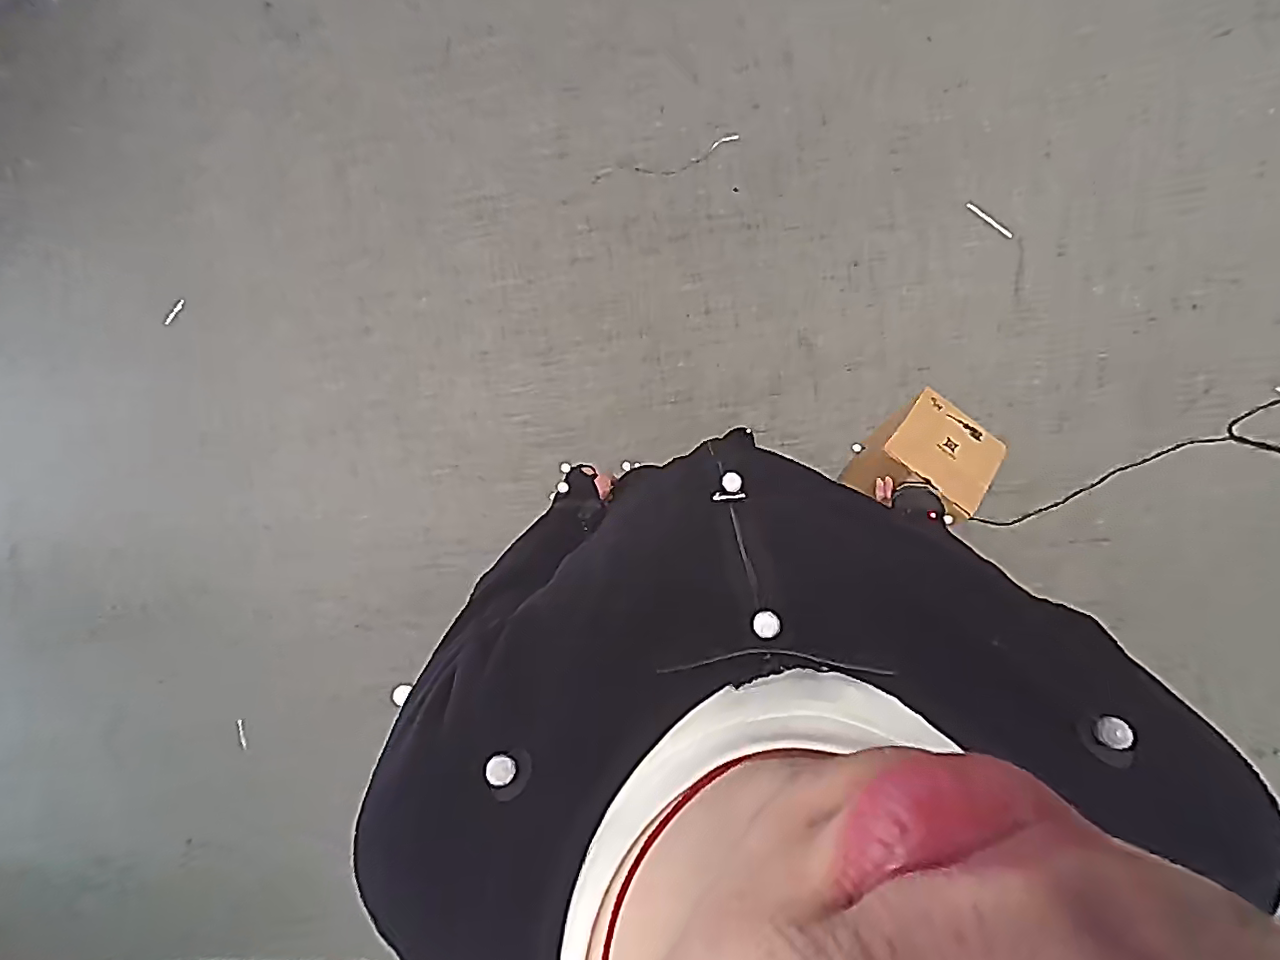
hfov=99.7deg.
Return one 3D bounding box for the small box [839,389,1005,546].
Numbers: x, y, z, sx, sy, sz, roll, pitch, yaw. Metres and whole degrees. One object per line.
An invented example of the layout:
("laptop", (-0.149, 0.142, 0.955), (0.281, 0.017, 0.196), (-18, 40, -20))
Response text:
("small box", (0.474, -0.015, 0.936), (0.168, 0.176, 0.179), (38, 62, 9))
